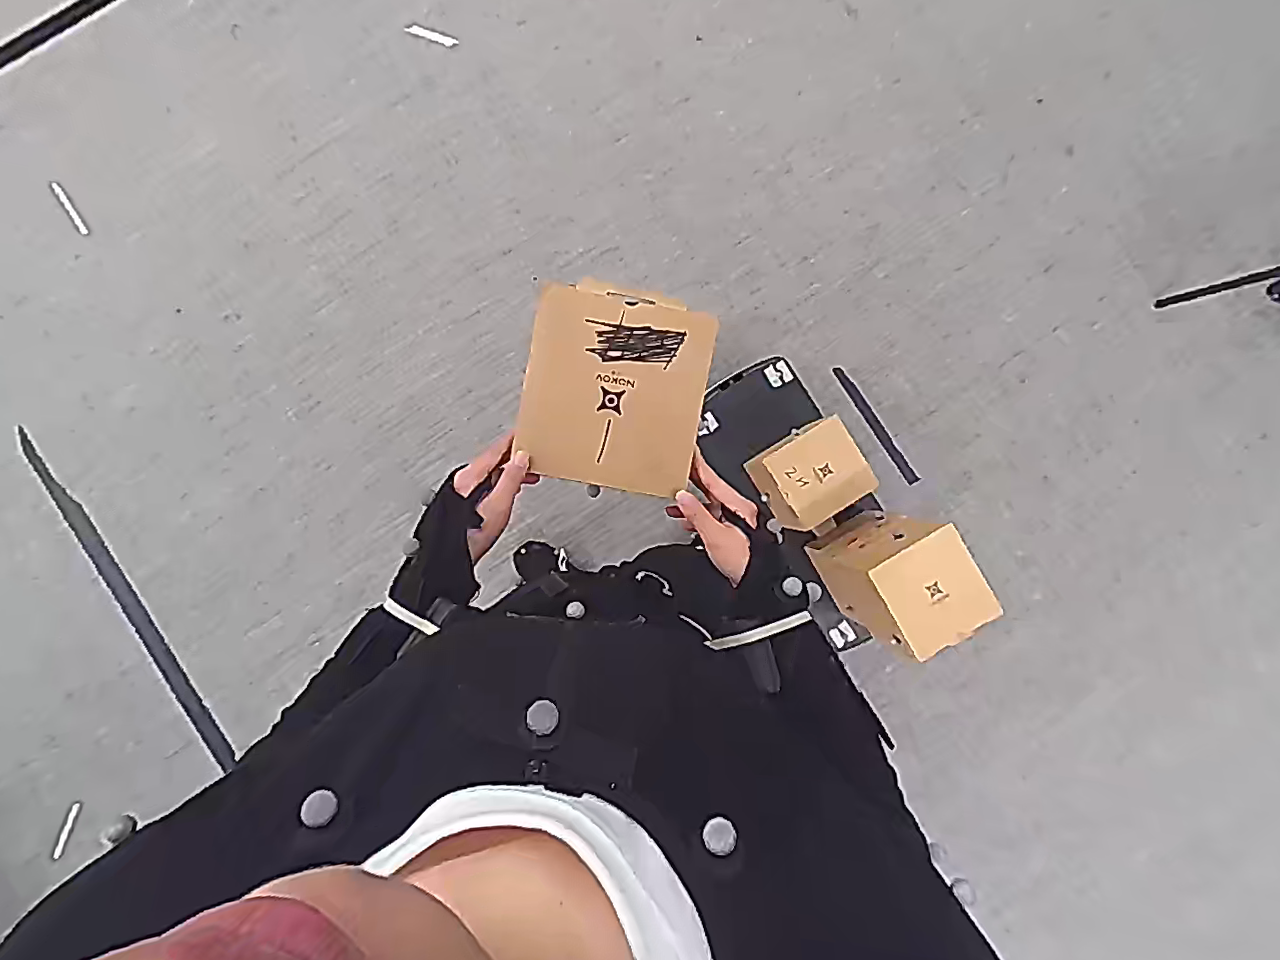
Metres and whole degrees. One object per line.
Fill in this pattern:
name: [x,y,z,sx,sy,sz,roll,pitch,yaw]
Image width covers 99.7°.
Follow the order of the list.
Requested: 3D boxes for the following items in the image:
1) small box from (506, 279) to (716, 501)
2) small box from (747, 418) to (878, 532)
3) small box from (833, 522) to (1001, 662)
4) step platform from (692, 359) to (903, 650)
small box: [-0.030,-0.082,0.566,0.168,0.176,0.179,11,90,-2]
small box: [0.347,-0.010,1.123,0.179,0.176,0.168,-31,89,-2]
small box: [0.476,0.186,0.958,0.168,0.176,0.179,-30,90,-2]
step platform: [0.402,0.056,1.296,0.286,0.204,0.684,-33,89,-3]
